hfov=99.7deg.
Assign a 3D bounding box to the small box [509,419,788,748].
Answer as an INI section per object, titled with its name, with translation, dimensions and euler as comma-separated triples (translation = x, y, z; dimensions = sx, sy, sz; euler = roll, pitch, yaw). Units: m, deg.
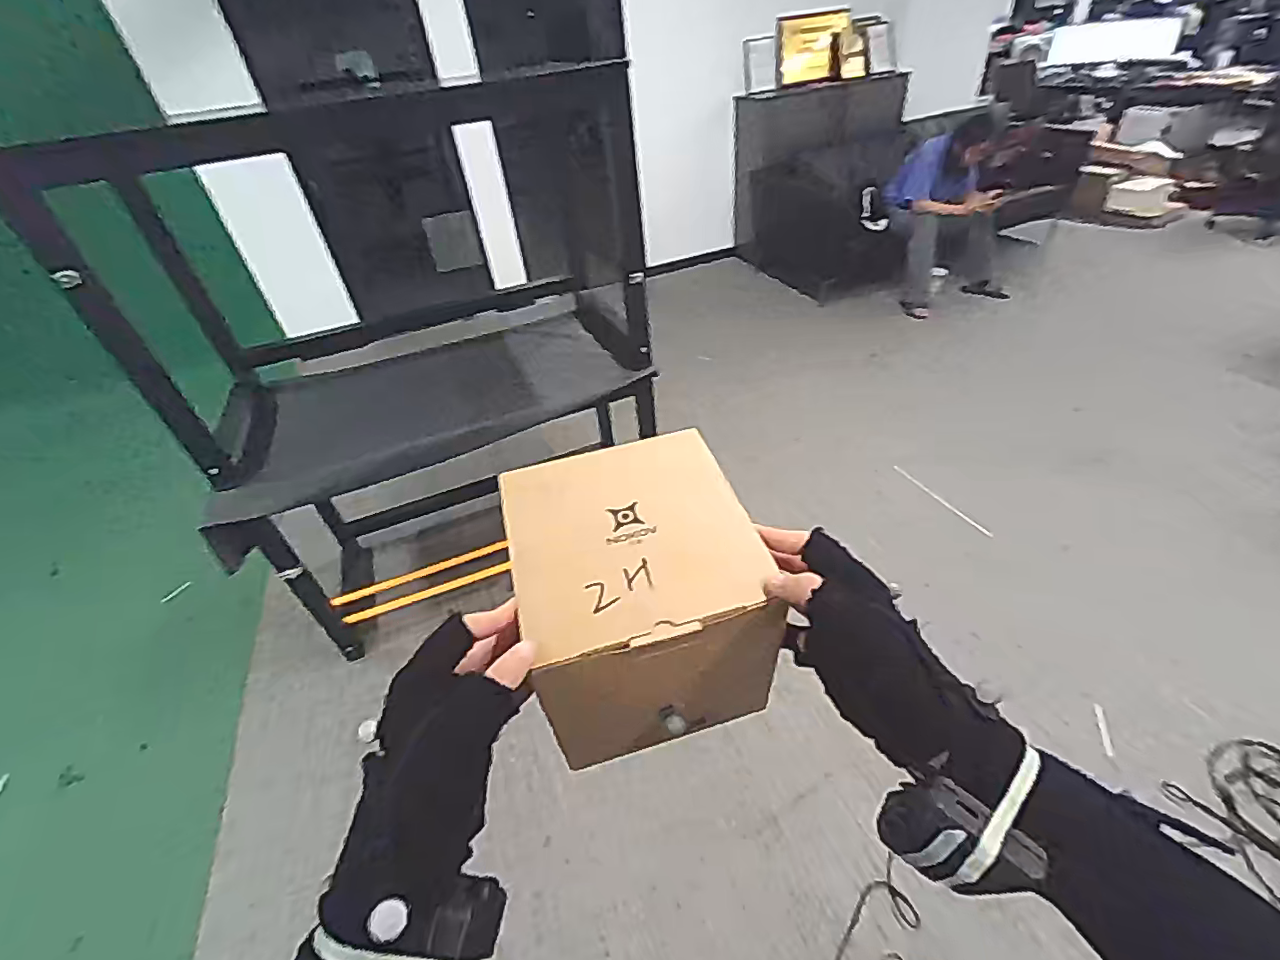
[small box]
translation = -0.001, 0.080, 0.438
dimensions = 0.168, 0.176, 0.179
euler = -14, 43, -8
